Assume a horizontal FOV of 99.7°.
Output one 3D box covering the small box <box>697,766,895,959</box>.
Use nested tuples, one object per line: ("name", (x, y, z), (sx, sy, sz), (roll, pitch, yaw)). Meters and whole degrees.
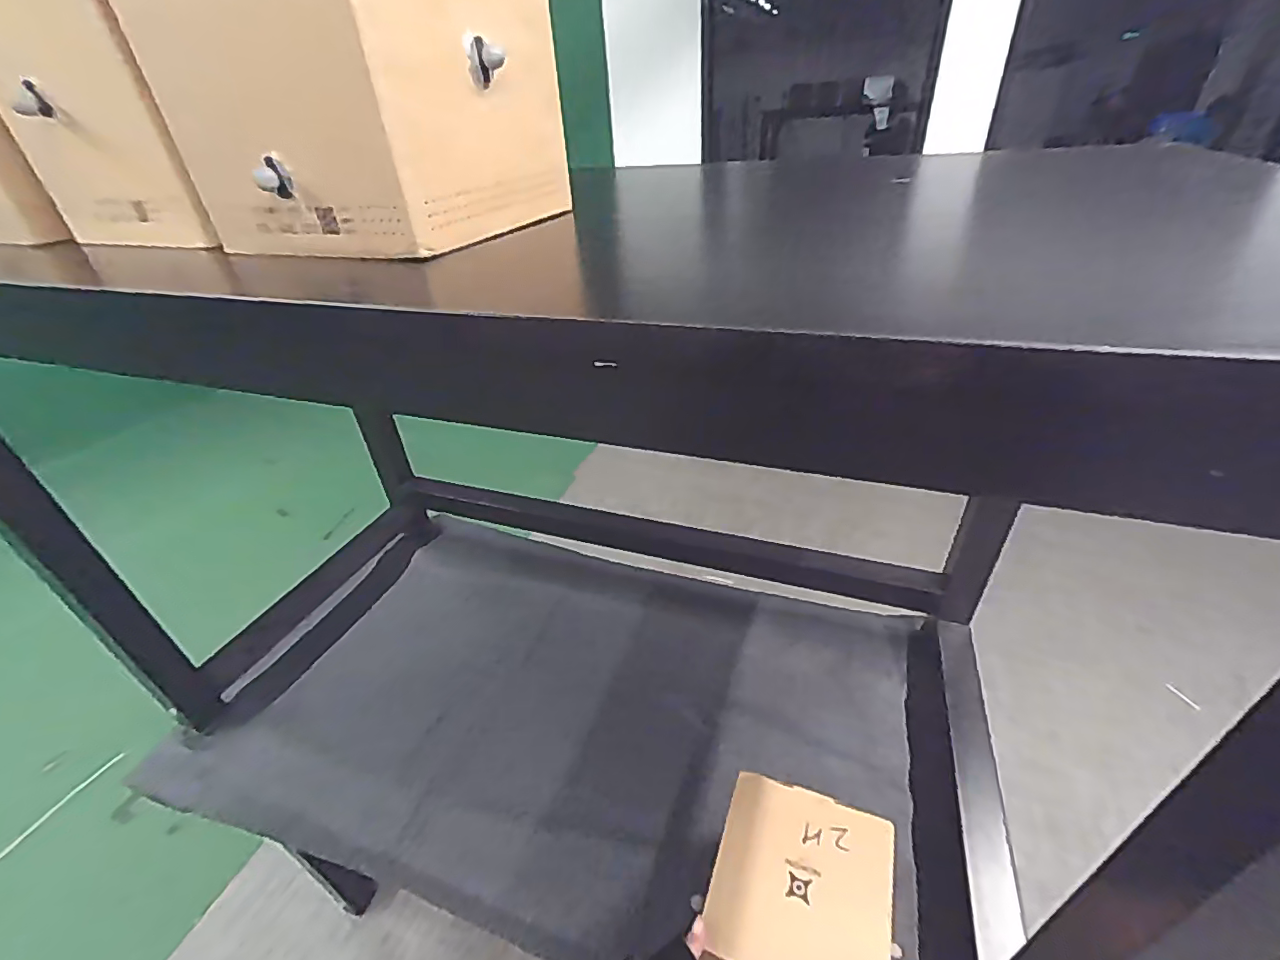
("small box", (0.166, 0.456, 0.577), (0.168, 0.176, 0.179), (10, 36, 20))

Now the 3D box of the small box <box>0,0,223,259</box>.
("small box", (-0.524, -0.308, 0.482), (0.168, 0.176, 0.179), (10, 38, 20))
